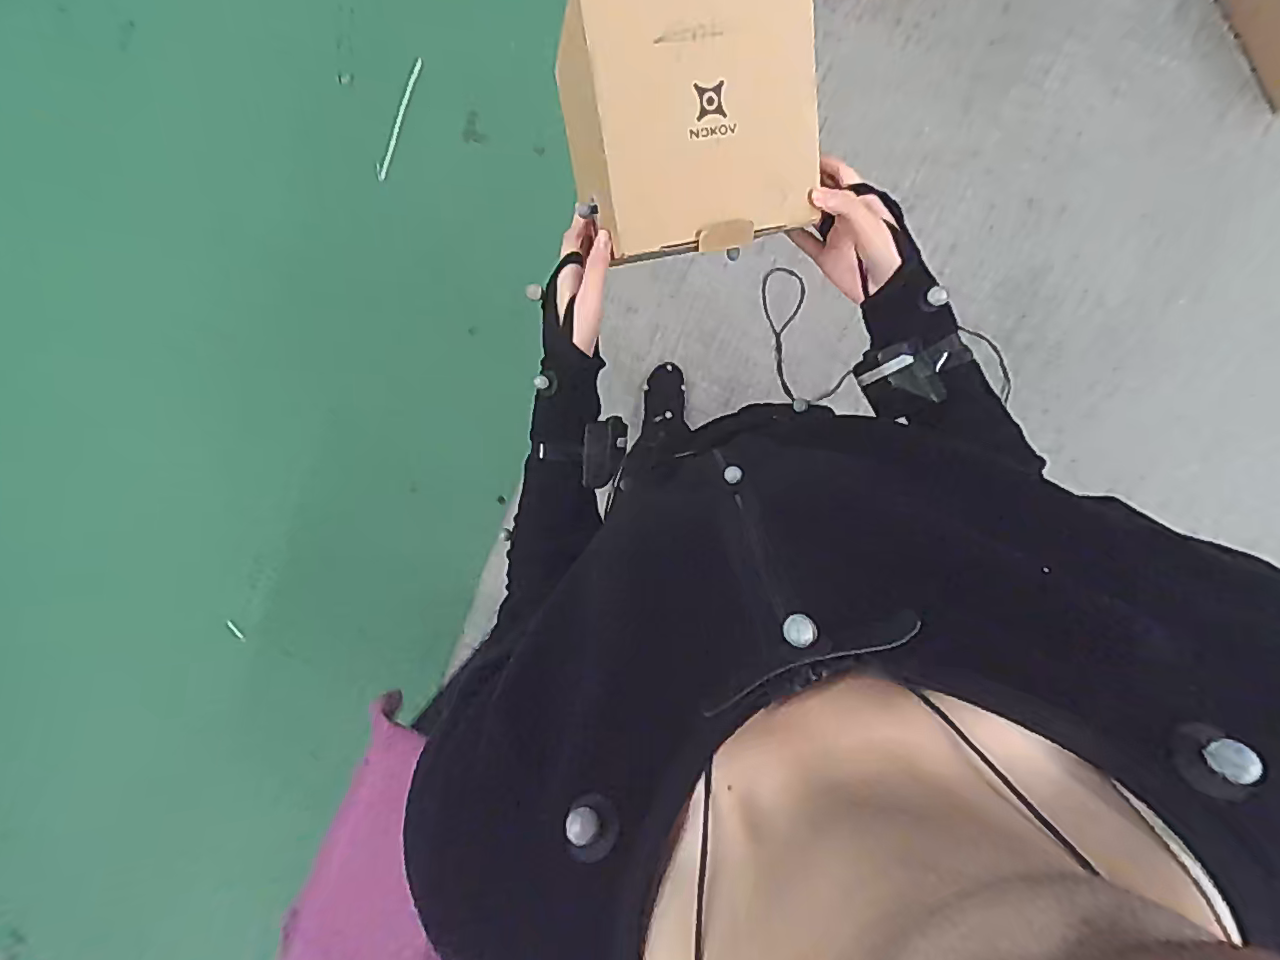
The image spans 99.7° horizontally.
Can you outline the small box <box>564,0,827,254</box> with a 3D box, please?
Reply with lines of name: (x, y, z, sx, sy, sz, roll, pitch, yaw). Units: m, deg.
small box: (0.037, -0.291, 0.449, 0.168, 0.176, 0.179, -12, 110, -10)
